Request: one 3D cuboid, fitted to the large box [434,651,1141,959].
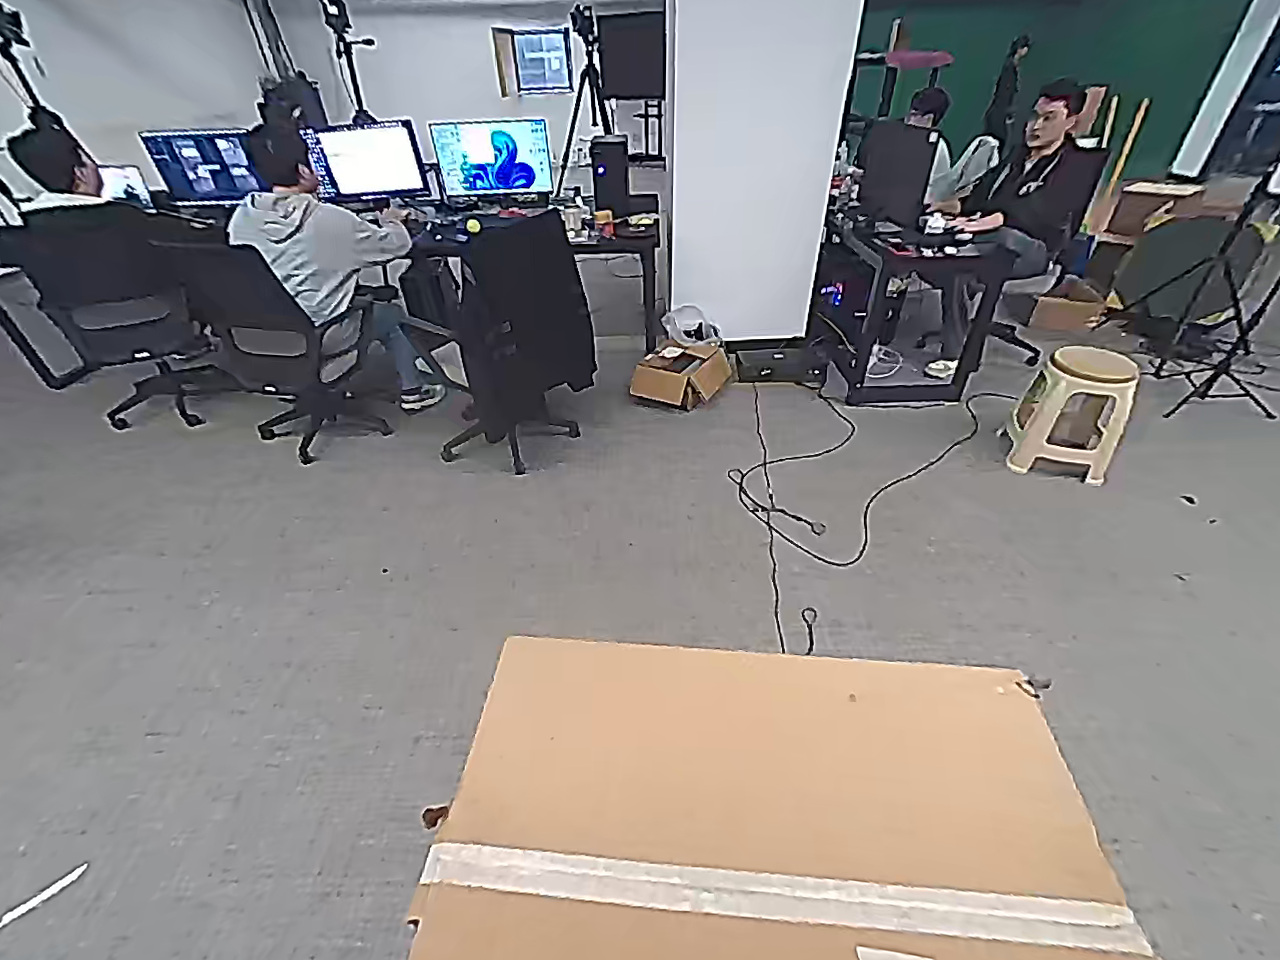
[{"bbox_3d":[0.084,0.360,0.426,0.408,0.320,0.320,2,44,4],"label":"large box"}]
